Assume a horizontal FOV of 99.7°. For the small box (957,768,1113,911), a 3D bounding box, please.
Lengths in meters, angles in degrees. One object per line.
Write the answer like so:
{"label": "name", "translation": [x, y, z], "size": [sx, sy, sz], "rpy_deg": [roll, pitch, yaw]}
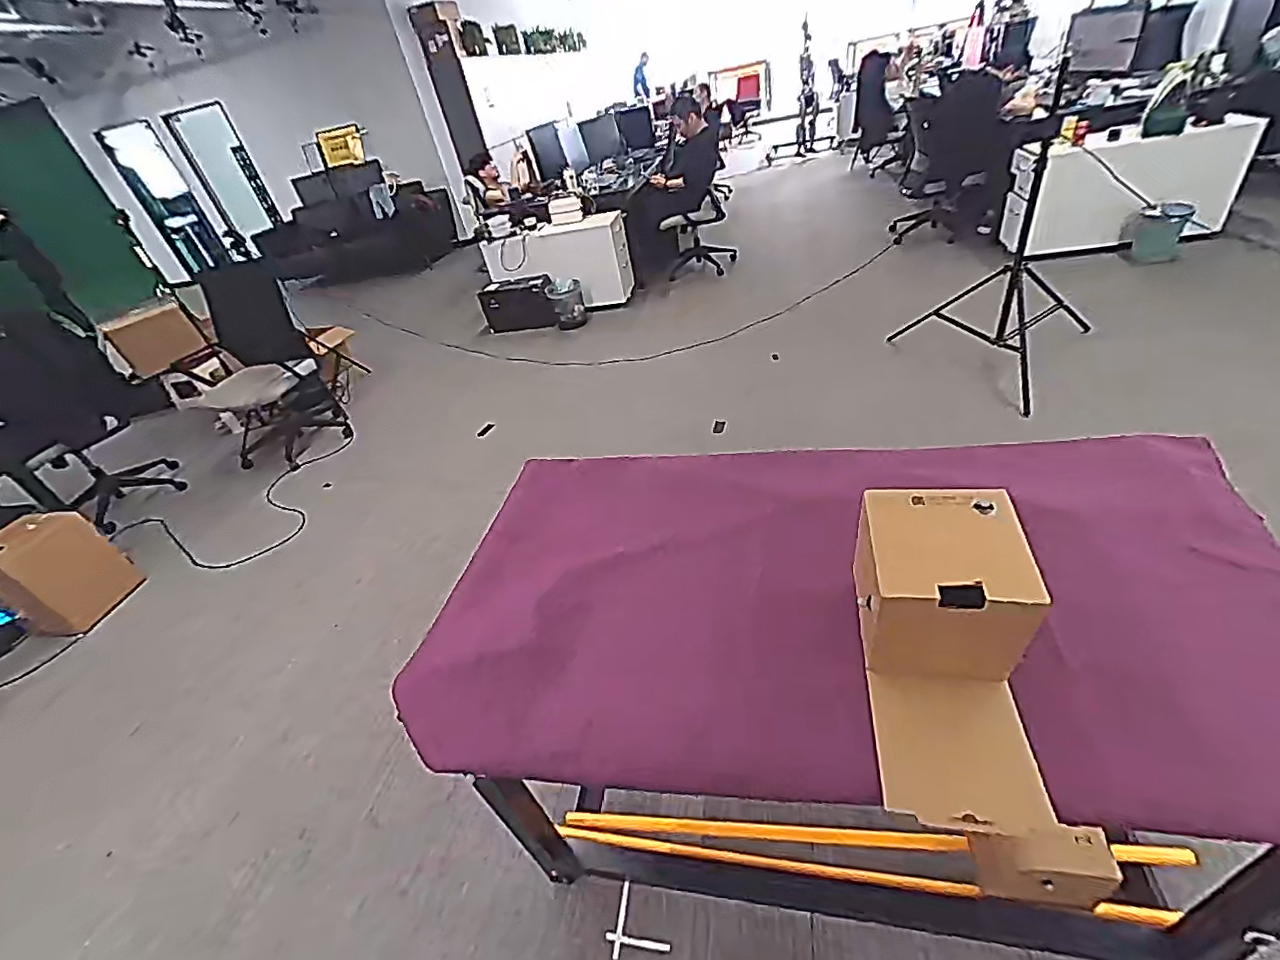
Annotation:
{"label": "small box", "translation": [0.692, 0.647, 0.976], "size": [0.179, 0.176, 0.168], "rpy_deg": [-3, 38, 14]}

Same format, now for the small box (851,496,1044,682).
{"label": "small box", "translation": [0.368, 0.134, 0.689], "size": [0.168, 0.179, 0.176], "rpy_deg": [0, 45, 15]}
